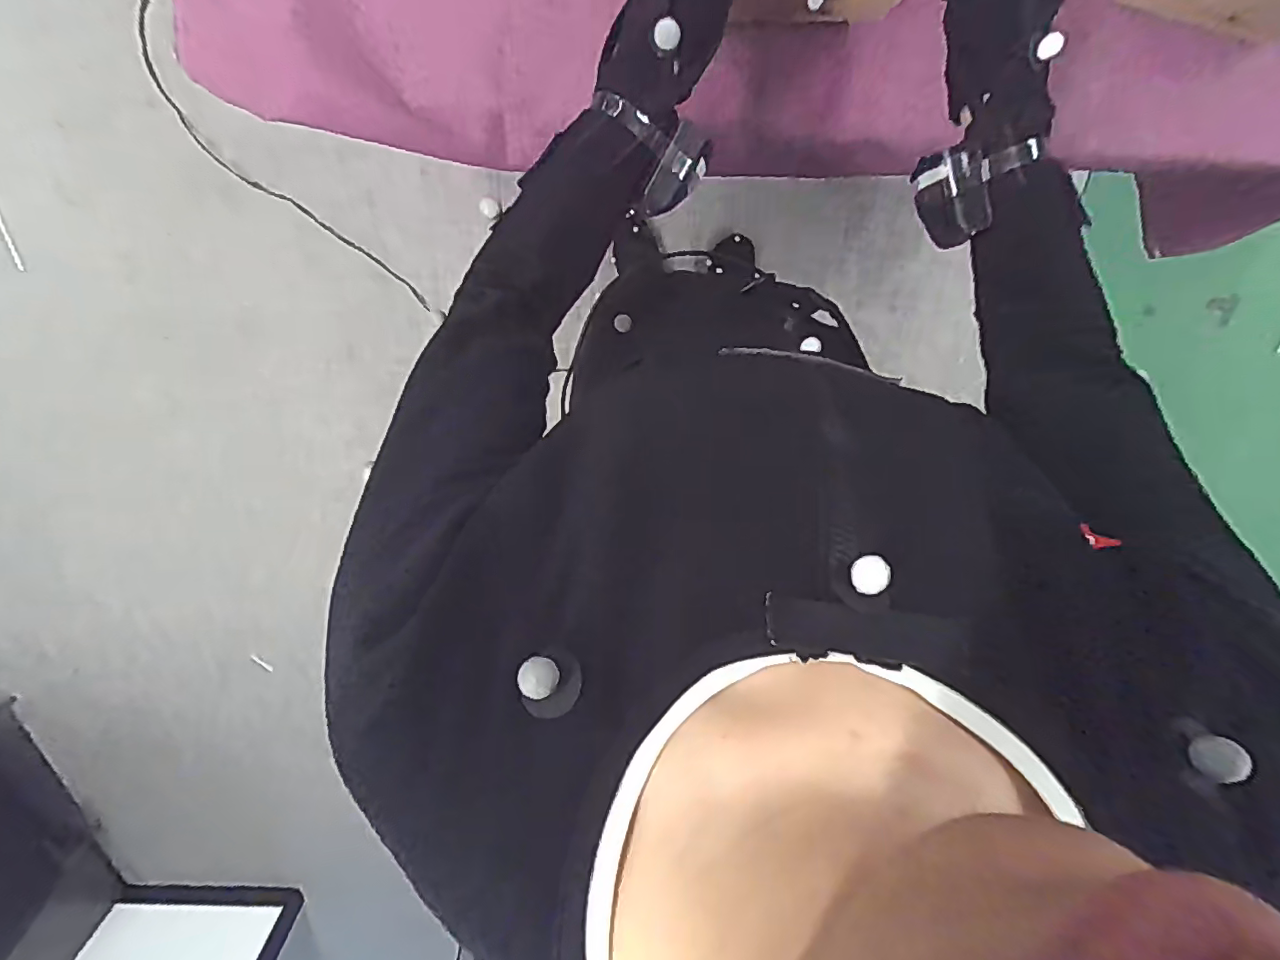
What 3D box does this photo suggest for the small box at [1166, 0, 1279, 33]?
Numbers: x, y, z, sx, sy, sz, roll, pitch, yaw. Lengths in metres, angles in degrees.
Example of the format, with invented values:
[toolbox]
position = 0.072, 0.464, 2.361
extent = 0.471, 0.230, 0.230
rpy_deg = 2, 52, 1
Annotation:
[small box]
position = 0.546, -0.481, 0.409
extent = 0.168, 0.176, 0.179
rpy_deg = 12, 116, -5
